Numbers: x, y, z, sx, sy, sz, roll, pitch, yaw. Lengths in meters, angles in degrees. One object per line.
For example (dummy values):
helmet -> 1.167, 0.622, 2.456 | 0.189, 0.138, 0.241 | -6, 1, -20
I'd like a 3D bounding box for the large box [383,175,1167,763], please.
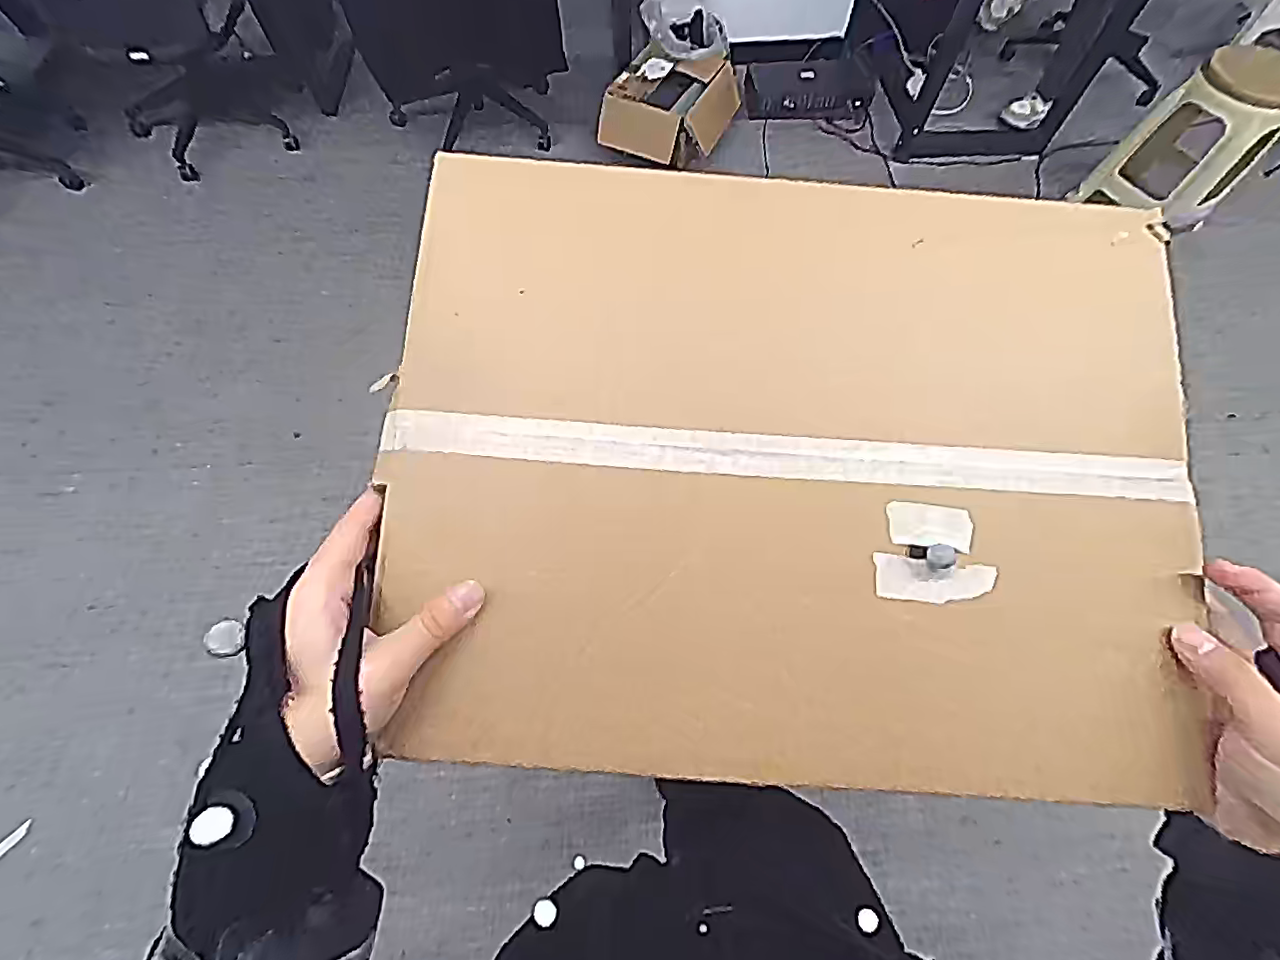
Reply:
large box -> 0.072, 0.007, 0.439 | 0.408, 0.320, 0.320 | 4, 82, -1
